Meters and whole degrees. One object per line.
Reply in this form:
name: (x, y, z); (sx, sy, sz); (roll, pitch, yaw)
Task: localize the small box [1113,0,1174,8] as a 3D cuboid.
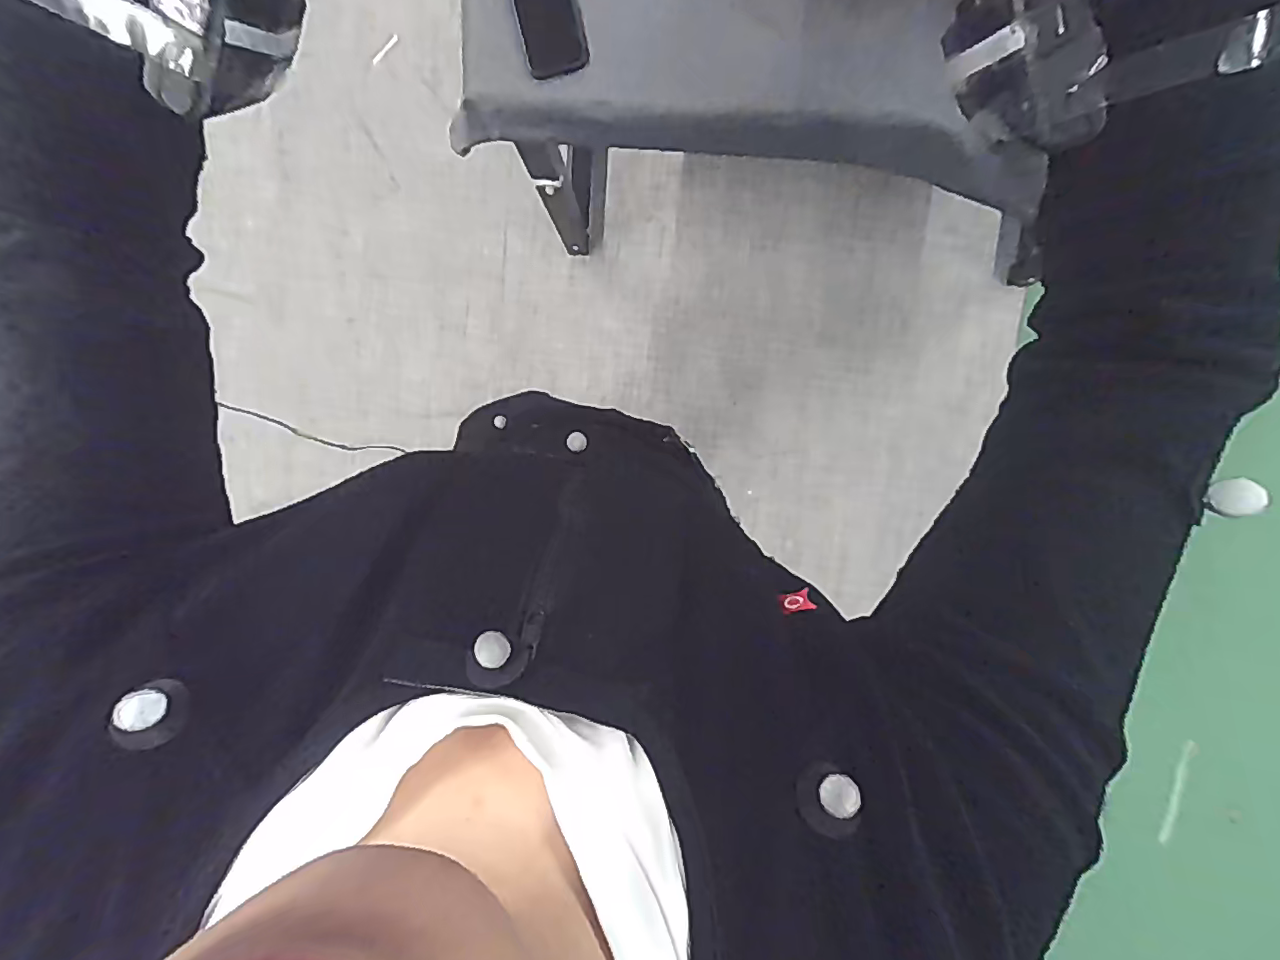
small box: (0.570, -0.653, 0.569); (0.168, 0.176, 0.179); (7, 96, 0)
